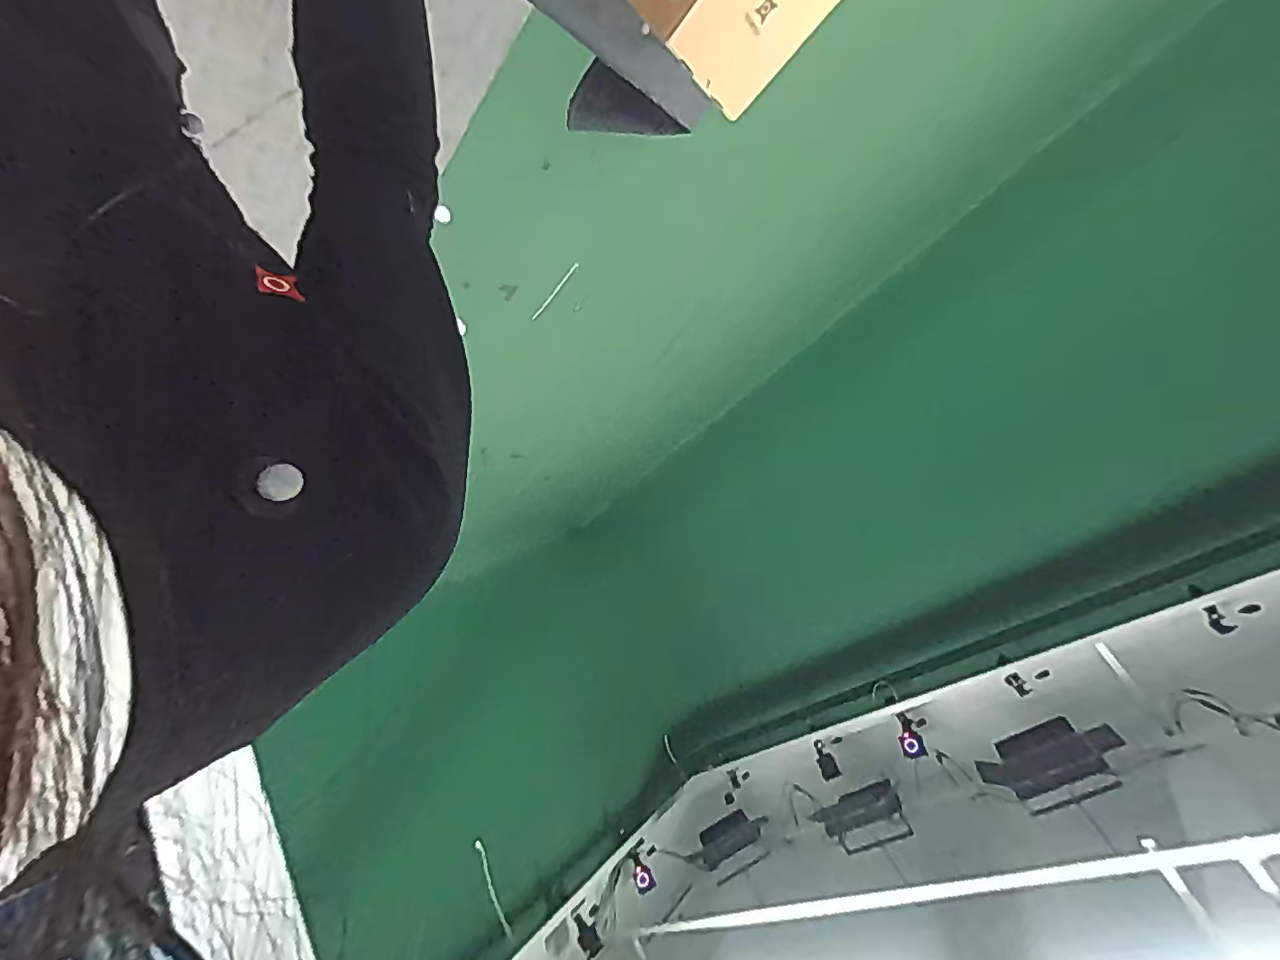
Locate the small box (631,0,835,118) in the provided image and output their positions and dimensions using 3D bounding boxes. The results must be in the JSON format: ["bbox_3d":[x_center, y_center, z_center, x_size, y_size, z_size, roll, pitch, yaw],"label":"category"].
[{"bbox_3d":[0.089,-0.562,0.589,0.179,0.176,0.168,-39,162,29],"label":"small box"}]
